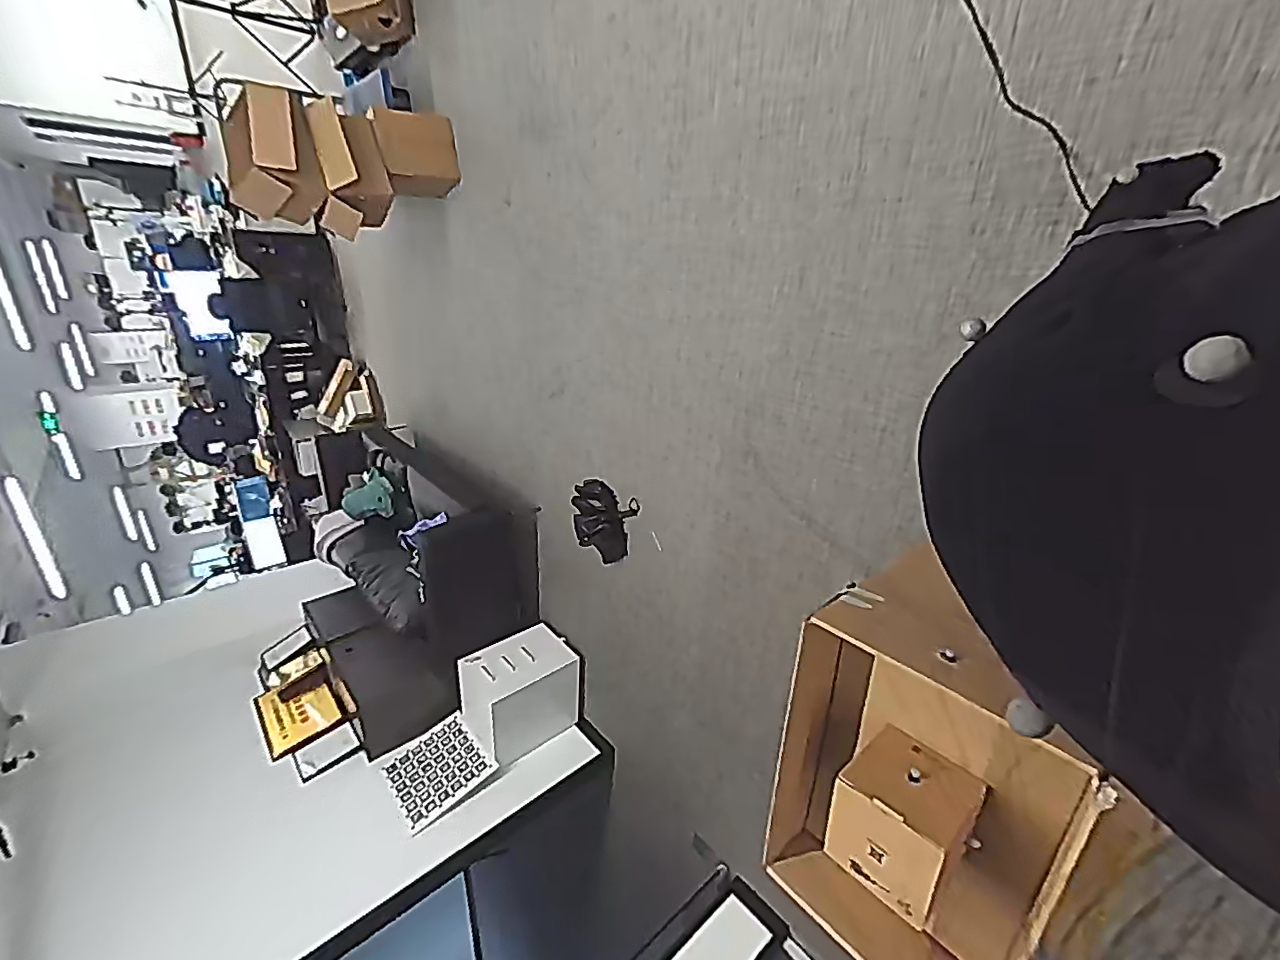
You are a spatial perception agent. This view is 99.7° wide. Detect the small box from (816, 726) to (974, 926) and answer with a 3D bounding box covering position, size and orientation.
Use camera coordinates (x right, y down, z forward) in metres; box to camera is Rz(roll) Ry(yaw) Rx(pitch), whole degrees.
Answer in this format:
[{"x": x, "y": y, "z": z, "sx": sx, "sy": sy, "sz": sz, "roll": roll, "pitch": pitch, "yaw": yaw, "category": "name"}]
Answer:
[{"x": 0.414, "y": 0.544, "z": 0.877, "sx": 0.168, "sy": 0.176, "sz": 0.179, "roll": 24, "pitch": 120, "yaw": 45, "category": "small box"}]
